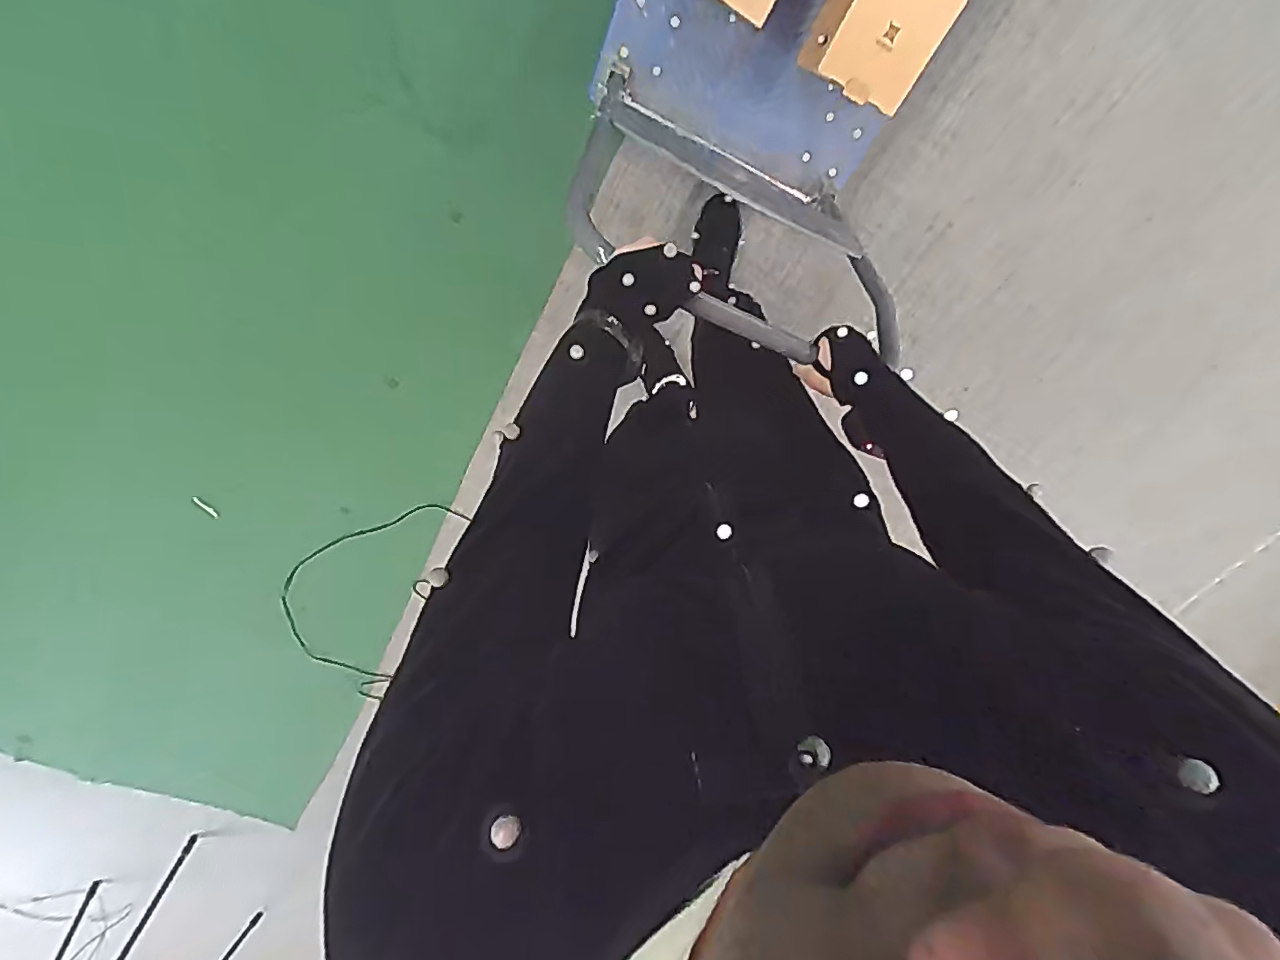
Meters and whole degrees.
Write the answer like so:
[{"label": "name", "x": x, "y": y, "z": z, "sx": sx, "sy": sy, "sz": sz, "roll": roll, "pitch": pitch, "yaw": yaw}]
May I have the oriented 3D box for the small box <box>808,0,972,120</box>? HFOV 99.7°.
[{"label": "small box", "x": 0.416, "y": -0.773, "z": 0.937, "sx": 0.168, "sy": 0.176, "sz": 0.179, "roll": 20, "pitch": 131, "yaw": -16}]
